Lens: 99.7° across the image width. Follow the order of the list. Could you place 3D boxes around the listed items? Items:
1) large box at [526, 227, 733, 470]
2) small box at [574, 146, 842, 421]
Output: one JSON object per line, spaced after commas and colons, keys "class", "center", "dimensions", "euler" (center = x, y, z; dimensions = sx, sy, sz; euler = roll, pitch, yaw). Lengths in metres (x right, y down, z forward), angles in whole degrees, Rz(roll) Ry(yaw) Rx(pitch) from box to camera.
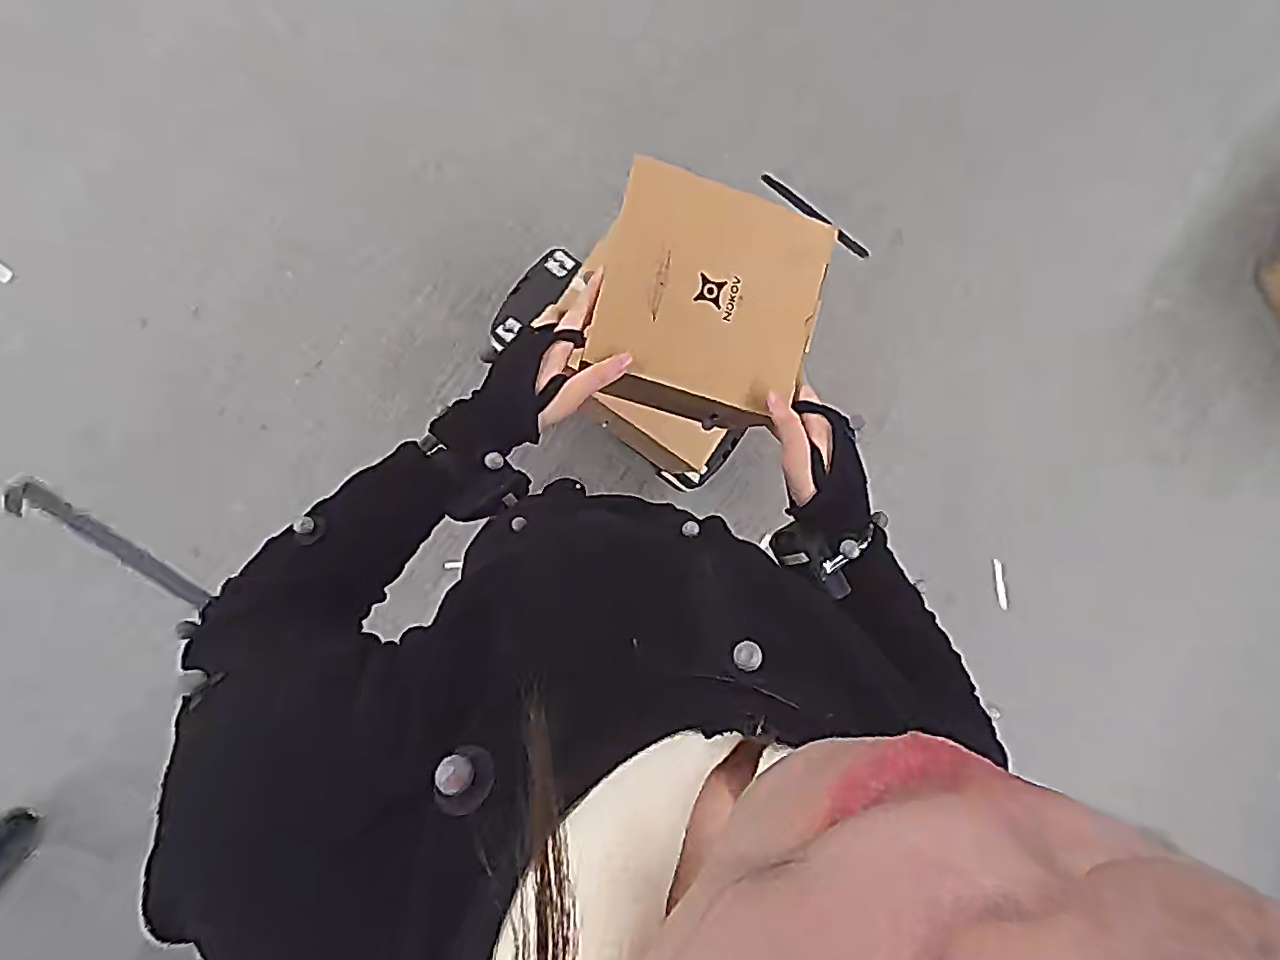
{"class": "large box", "center": [0.020, -0.253, 1.170], "dimensions": [0.408, 0.320, 0.320], "euler": [35, 85, -5]}
{"class": "small box", "center": [0.046, -0.154, 0.494], "dimensions": [0.179, 0.176, 0.168], "euler": [15, 91, -10]}
